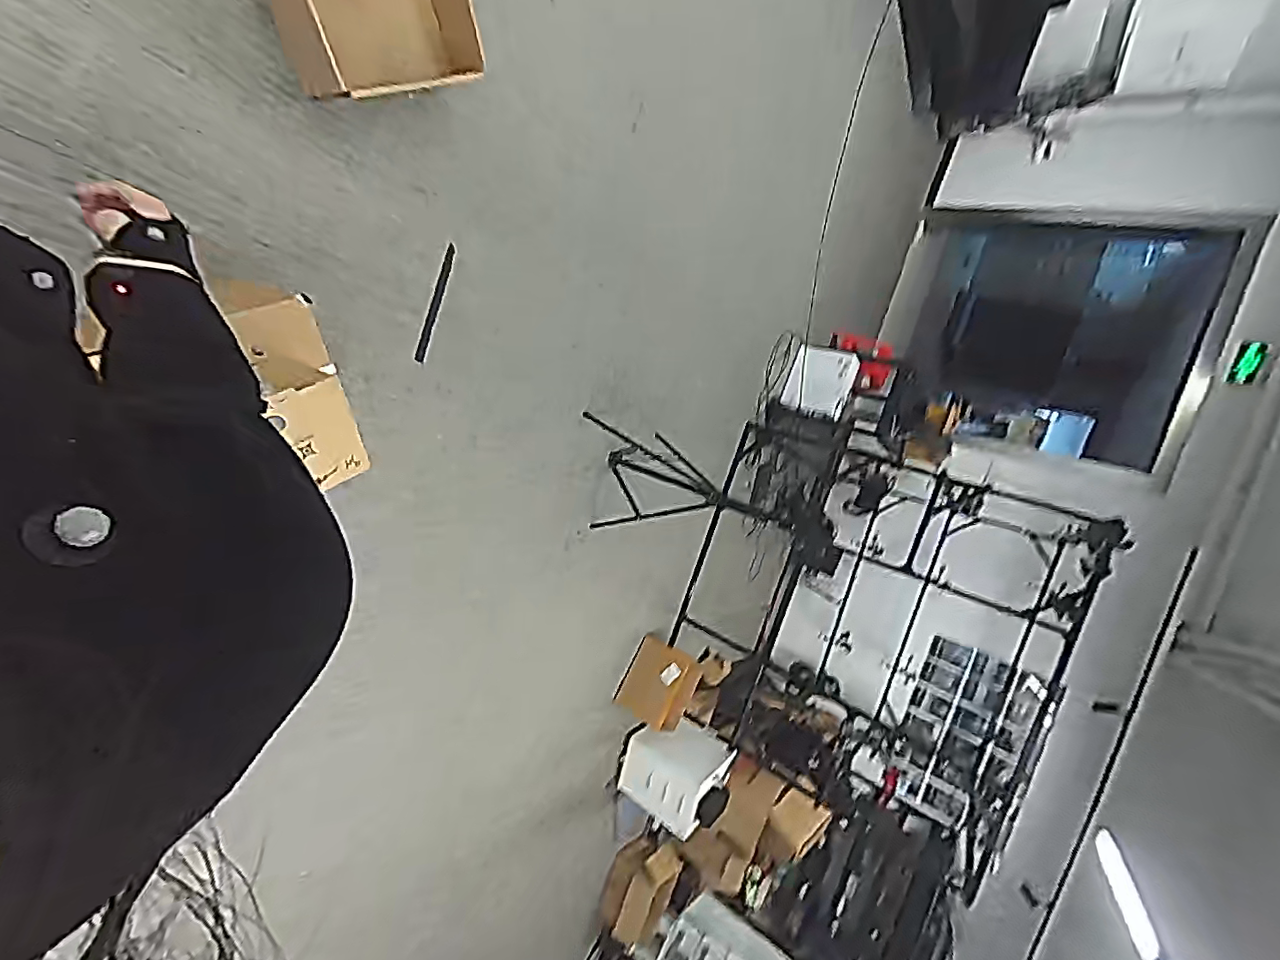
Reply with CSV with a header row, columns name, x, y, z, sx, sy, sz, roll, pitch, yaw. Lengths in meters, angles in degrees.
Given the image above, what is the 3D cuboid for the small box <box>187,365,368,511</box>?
name,x,y,z,sx,sy,sz,roll,pitch,yaw
small box,-0.596,-0.081,0.895,0.168,0.176,0.179,-38,136,-38
